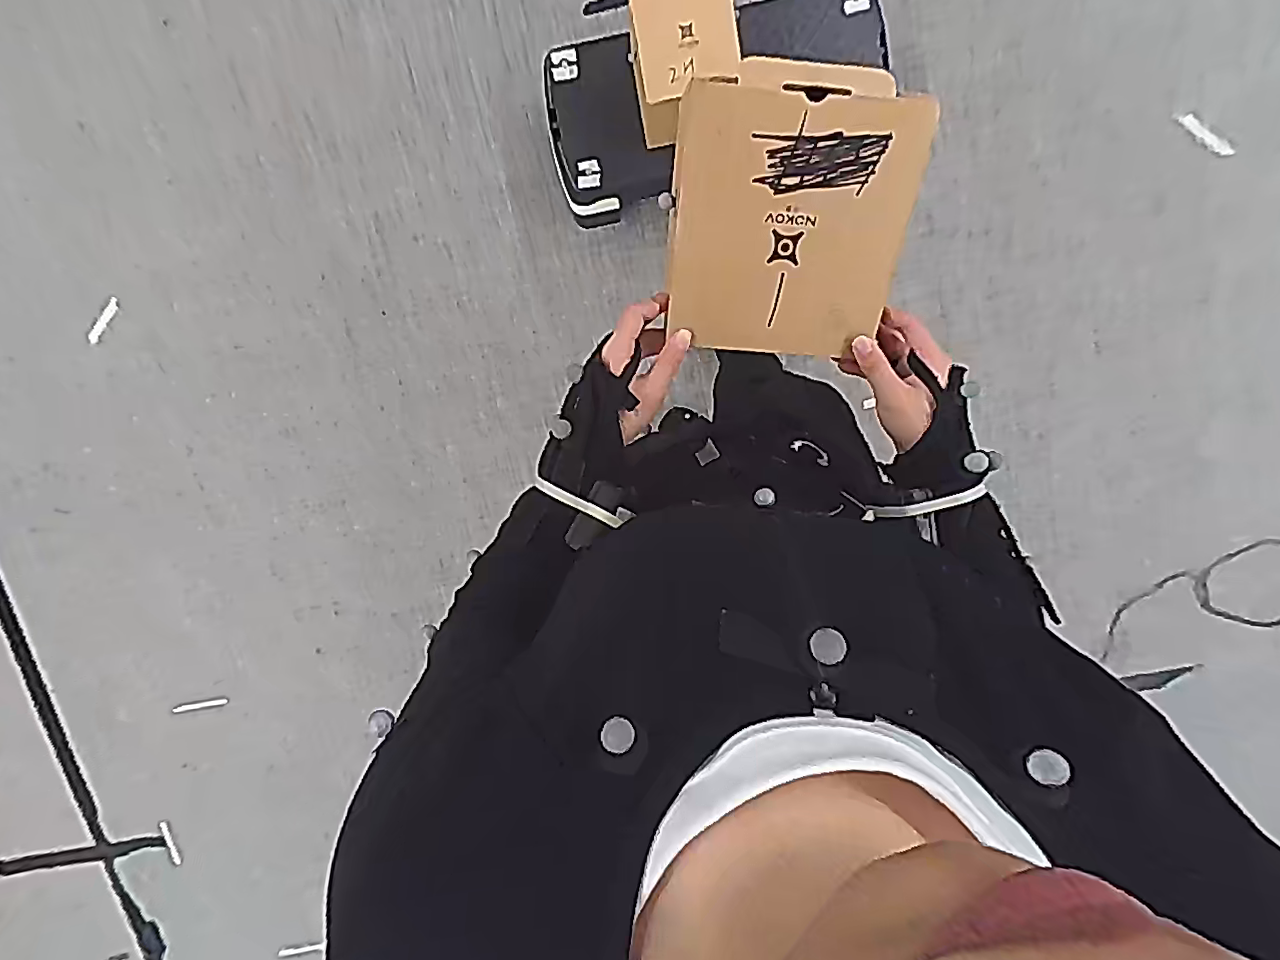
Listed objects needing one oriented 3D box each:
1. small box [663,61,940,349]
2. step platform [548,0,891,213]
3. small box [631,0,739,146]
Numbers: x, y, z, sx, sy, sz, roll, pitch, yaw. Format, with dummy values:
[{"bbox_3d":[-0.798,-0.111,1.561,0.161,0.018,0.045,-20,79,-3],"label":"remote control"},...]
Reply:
[{"bbox_3d":[0.109,-0.225,0.458,0.168,0.176,0.179,5,120,-1],"label":"small box"},{"bbox_3d":[0.155,-0.798,1.130,0.684,0.204,0.286,-12,98,3],"label":"step platform"},{"bbox_3d":[0.076,-0.737,0.965,0.168,0.176,0.179,-10,99,3],"label":"small box"}]
